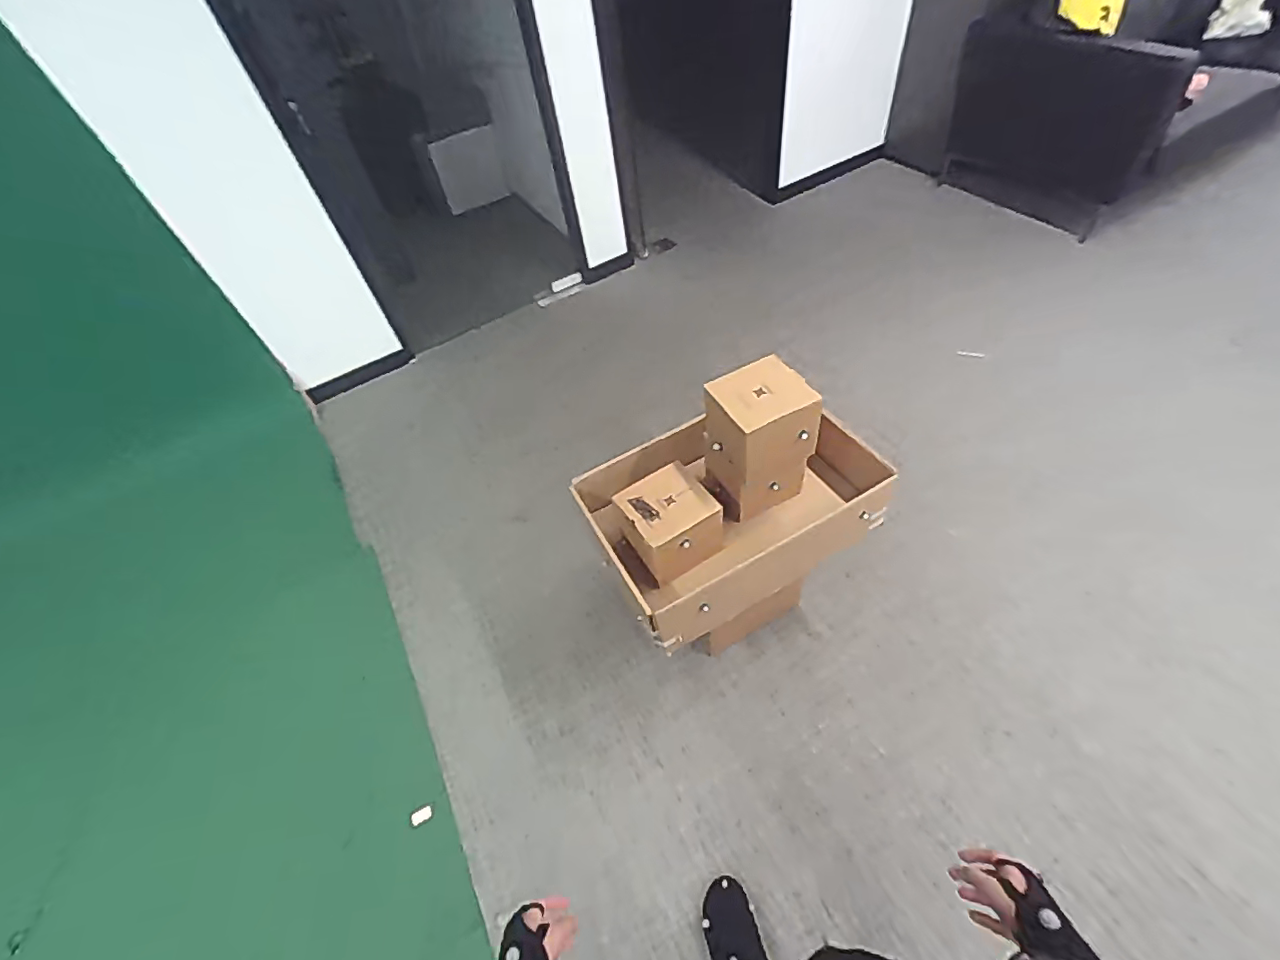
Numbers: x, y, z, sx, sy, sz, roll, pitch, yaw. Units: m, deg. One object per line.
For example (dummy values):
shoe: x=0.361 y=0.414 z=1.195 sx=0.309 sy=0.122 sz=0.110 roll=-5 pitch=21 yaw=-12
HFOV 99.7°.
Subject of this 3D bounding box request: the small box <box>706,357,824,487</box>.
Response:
small box: x=0.253 y=-0.117 z=1.123 sx=0.179 sy=0.176 sz=0.168 roll=-25 pitch=51 yaw=-9
